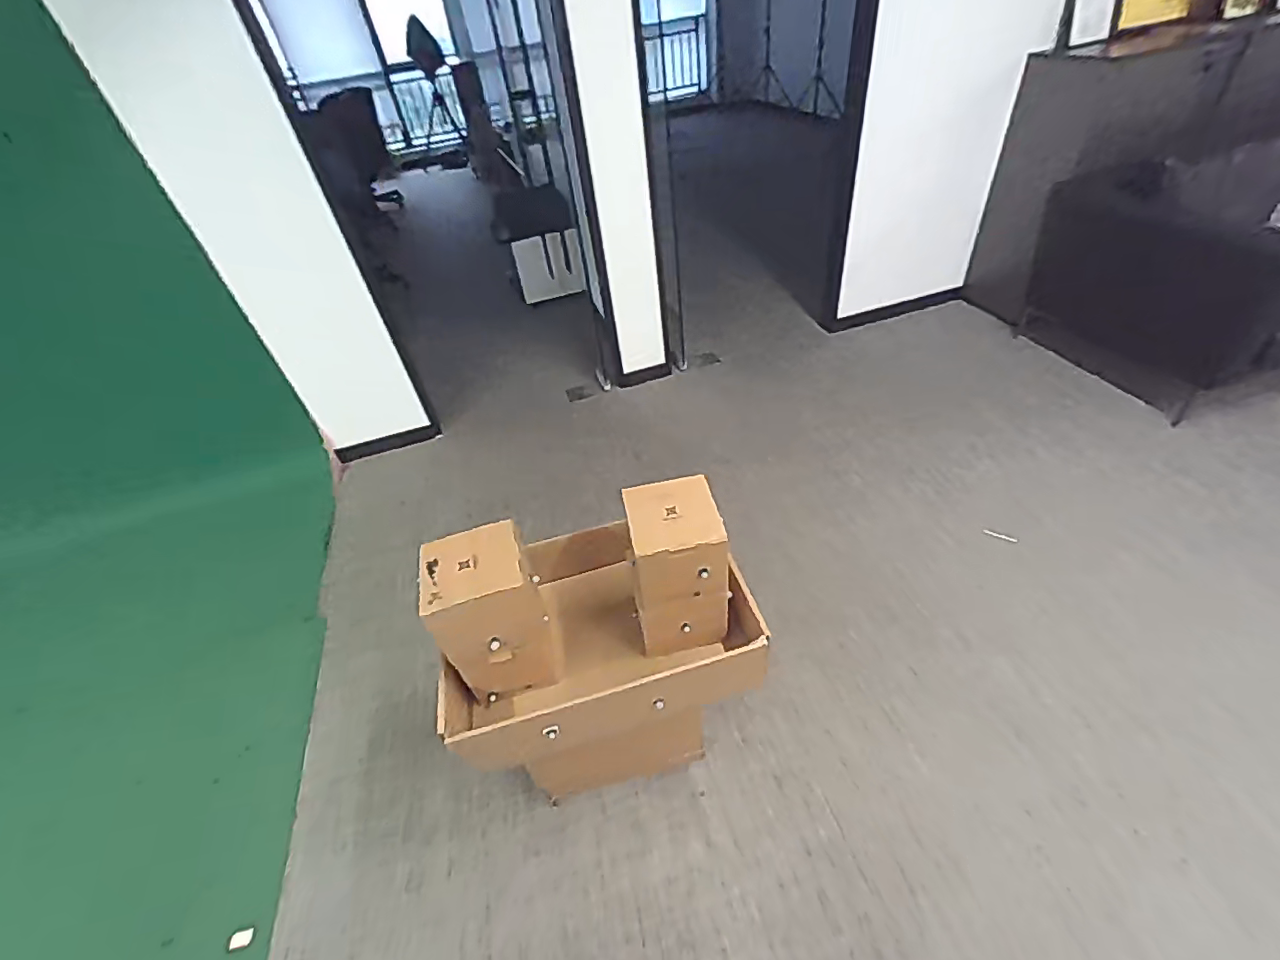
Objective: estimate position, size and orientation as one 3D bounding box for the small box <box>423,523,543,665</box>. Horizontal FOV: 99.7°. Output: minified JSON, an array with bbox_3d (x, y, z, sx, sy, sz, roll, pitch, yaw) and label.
[{"bbox_3d":[-0.286,0.213,1.005,0.179,0.176,0.168,-16,42,-8],"label":"small box"}]

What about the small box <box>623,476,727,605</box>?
[{"bbox_3d":[0.068,0.122,1.039,0.168,0.176,0.179,-10,41,-3],"label":"small box"}]
